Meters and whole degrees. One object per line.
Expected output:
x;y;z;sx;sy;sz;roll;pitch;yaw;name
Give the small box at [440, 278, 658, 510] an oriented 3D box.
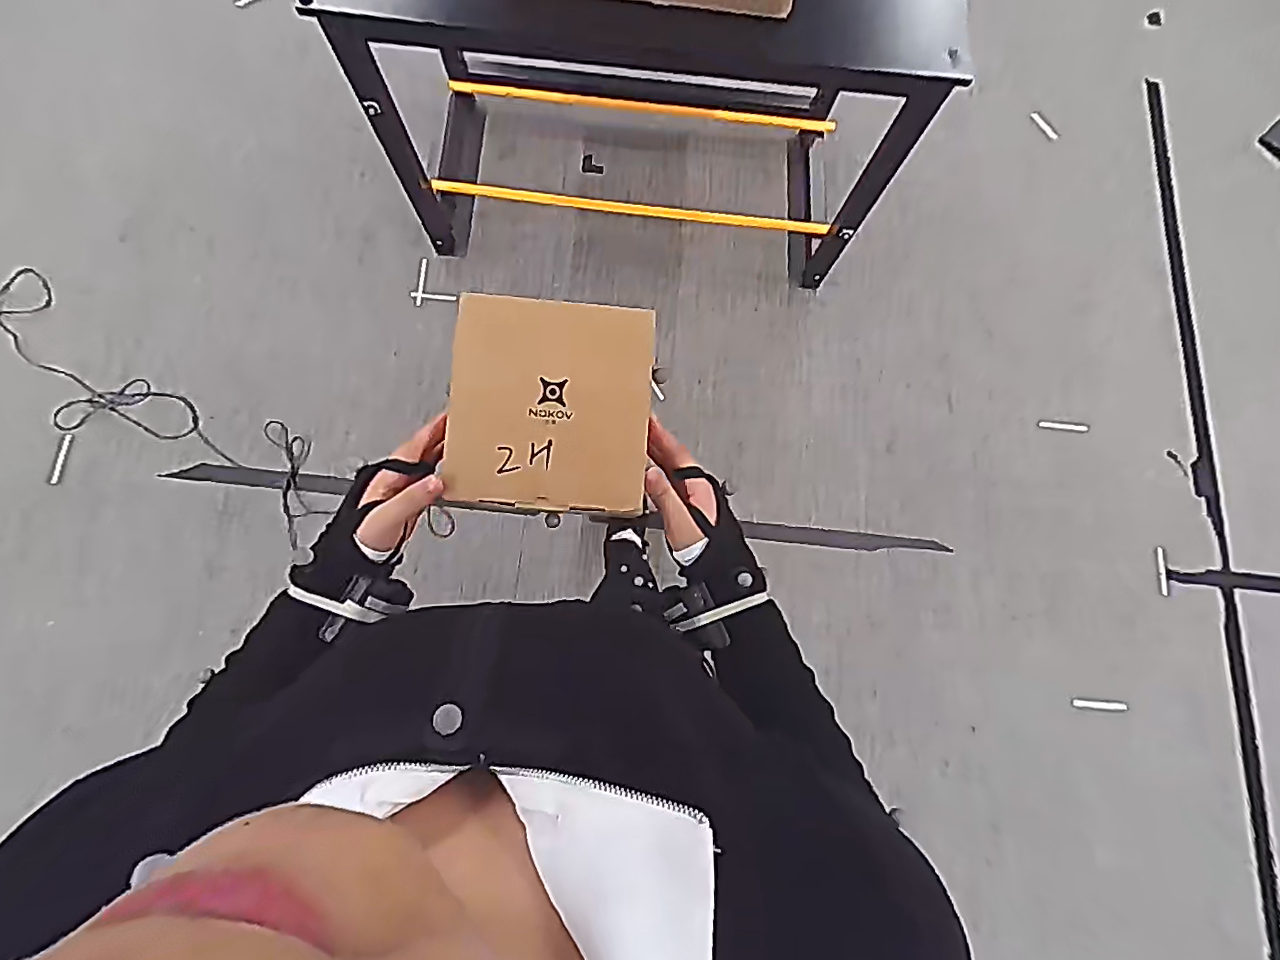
-0.078;-0.067;0.523;0.168;0.176;0.179;4;84;-3;small box
